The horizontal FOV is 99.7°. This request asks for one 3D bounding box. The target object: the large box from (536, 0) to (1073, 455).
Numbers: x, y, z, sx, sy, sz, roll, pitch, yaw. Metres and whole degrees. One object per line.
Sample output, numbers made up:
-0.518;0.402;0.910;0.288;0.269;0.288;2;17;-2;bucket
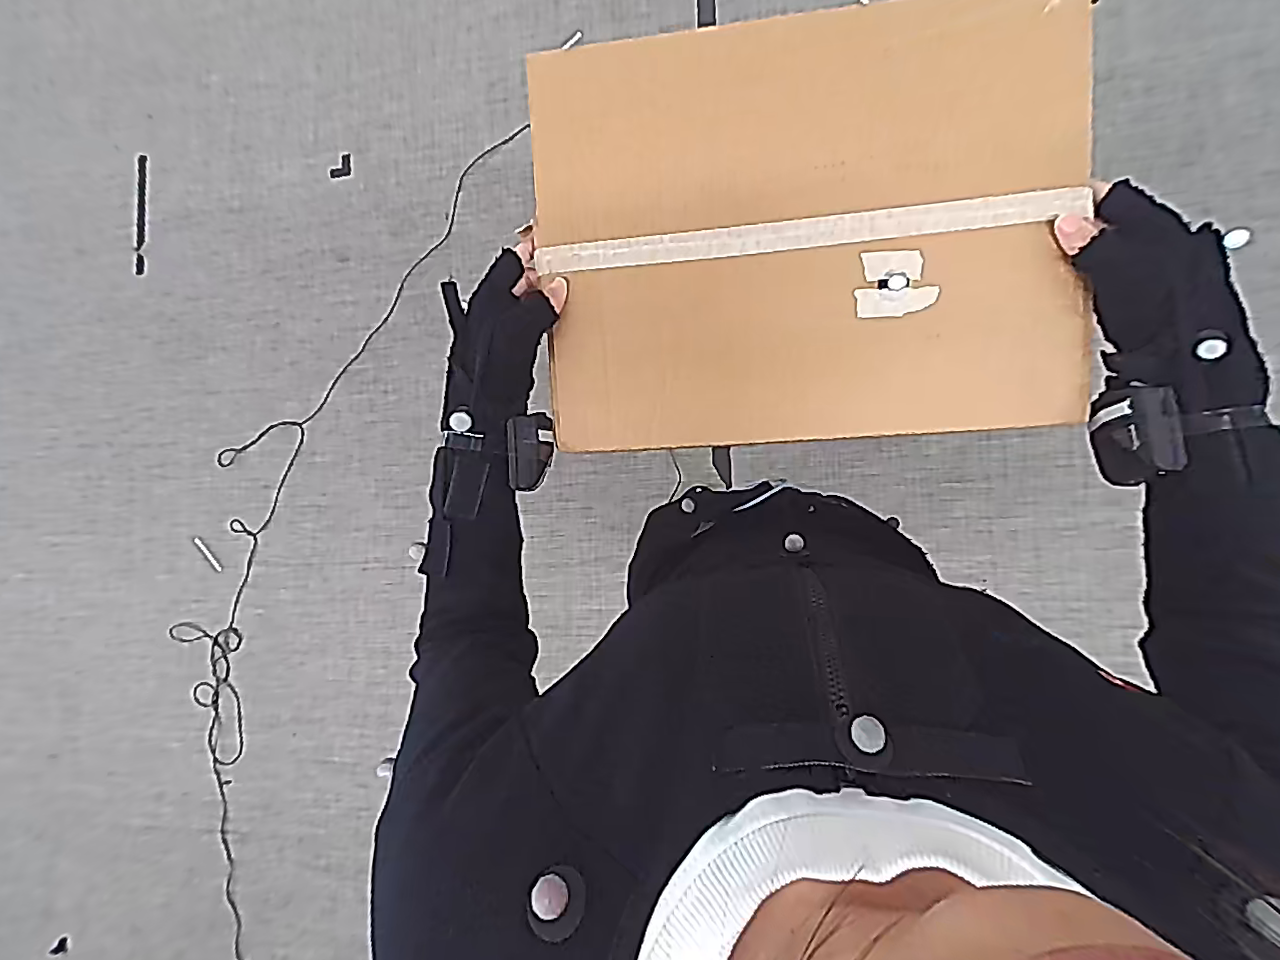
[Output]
0.138;-0.201;0.572;0.408;0.320;0.320;-4;95;6;large box
